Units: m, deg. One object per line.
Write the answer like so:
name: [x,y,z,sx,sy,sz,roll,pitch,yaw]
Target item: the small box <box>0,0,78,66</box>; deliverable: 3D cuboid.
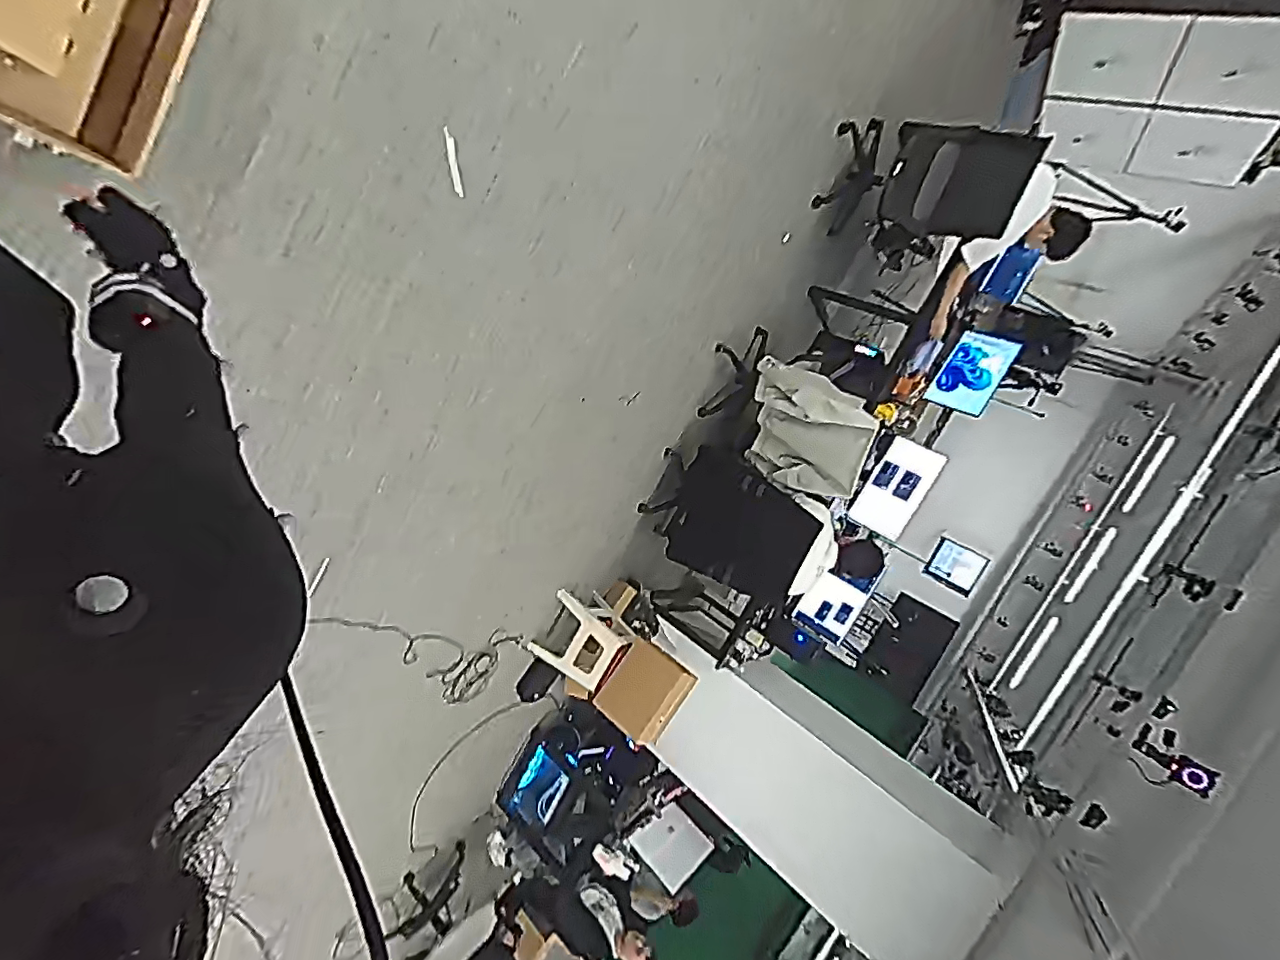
small box: [-0.922,-0.725,0.747,0.179,0.176,0.168,21,100,-58]
